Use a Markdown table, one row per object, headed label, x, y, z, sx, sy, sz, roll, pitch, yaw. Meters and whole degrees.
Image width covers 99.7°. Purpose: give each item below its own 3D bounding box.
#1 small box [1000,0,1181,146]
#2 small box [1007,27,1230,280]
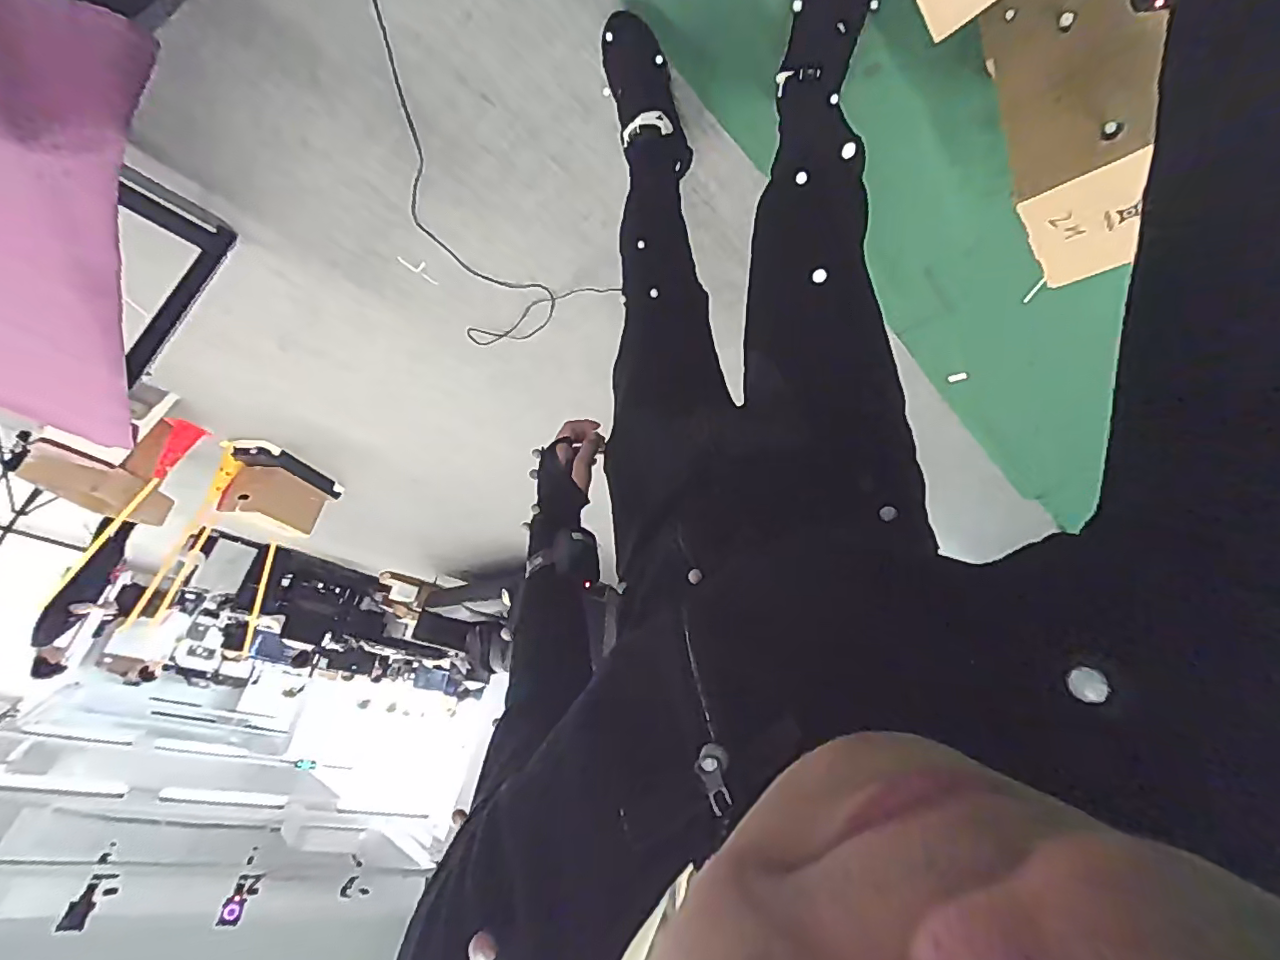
| label | x | y | z | sx | sy | sz | roll | pitch | yaw |
| --- | --- | --- | --- | --- | --- | --- | --- | --- | --- |
| small box | 0.616 | -0.541 | 0.741 | 0.168 | 0.176 | 0.179 | 29 | 152 | -36 |
| small box | 0.584 | -0.395 | 0.672 | 0.179 | 0.176 | 0.168 | -13 | 146 | 45 |
